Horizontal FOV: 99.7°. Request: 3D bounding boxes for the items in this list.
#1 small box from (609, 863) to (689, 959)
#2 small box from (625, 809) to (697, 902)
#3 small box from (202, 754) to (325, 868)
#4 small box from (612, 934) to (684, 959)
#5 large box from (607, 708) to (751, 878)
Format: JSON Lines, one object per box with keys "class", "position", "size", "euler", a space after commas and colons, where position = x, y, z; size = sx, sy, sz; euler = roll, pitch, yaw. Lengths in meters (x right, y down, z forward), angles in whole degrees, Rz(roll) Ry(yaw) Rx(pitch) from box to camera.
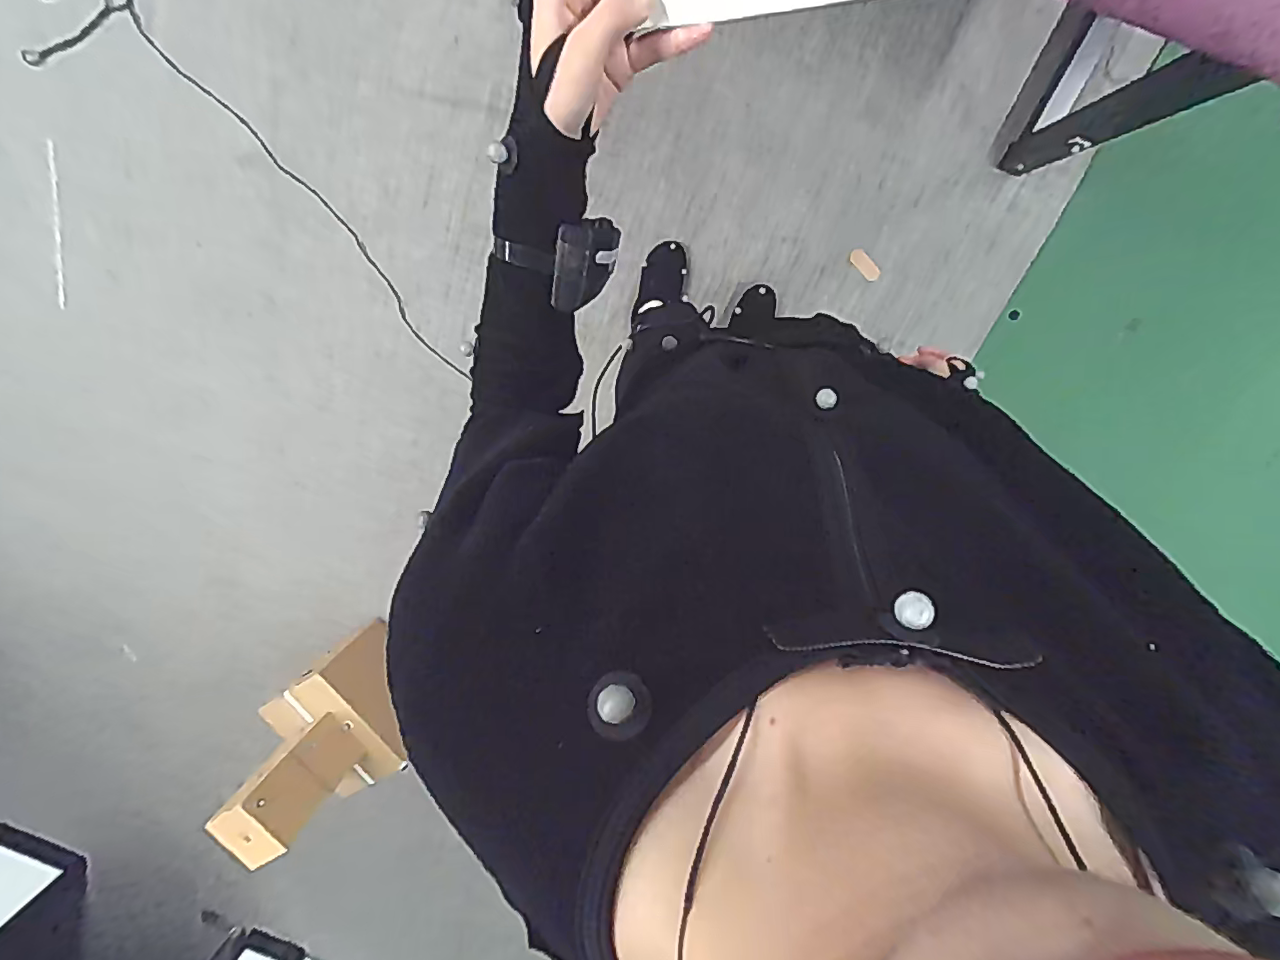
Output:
{"class": "small box", "position": [0.025, 1.121, 1.366], "size": [0.168, 0.176, 0.179], "euler": [14, 110, 4]}
{"class": "small box", "position": [0.060, 1.066, 1.516], "size": [0.179, 0.176, 0.168], "euler": [13, 109, 5]}
{"class": "small box", "position": [-0.997, 0.880, 1.447], "size": [0.168, 0.176, 0.179], "euler": [-34, 99, 18]}
{"class": "small box", "position": [0.003, 1.177, 1.213], "size": [0.168, 0.176, 0.179], "euler": [13, 108, 5]}
{"class": "large box", "position": [0.124, 0.990, 1.742], "size": [0.408, 0.320, 0.320], "euler": [9, 111, 5]}
